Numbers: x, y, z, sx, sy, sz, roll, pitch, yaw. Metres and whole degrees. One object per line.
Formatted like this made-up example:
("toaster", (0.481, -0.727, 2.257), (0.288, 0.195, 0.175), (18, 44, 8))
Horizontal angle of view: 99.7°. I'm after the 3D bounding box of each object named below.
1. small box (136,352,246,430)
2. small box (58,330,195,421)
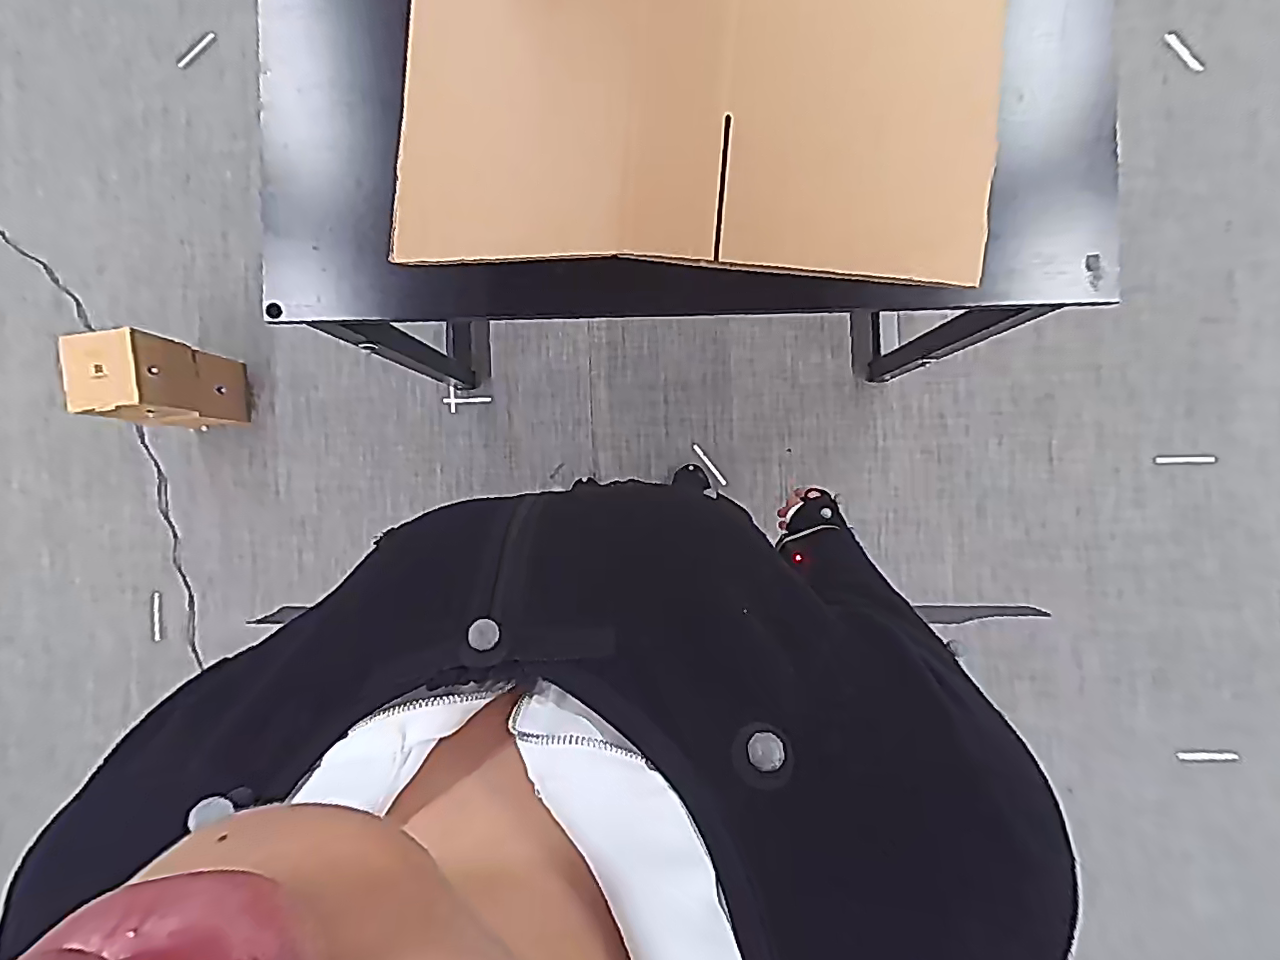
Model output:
("small box", (-1.199, -0.232, 1.446), (0.168, 0.176, 0.179), (-5, 91, 2))
("small box", (-1.205, -0.238, 1.284), (0.168, 0.176, 0.179), (-8, 89, 1))
